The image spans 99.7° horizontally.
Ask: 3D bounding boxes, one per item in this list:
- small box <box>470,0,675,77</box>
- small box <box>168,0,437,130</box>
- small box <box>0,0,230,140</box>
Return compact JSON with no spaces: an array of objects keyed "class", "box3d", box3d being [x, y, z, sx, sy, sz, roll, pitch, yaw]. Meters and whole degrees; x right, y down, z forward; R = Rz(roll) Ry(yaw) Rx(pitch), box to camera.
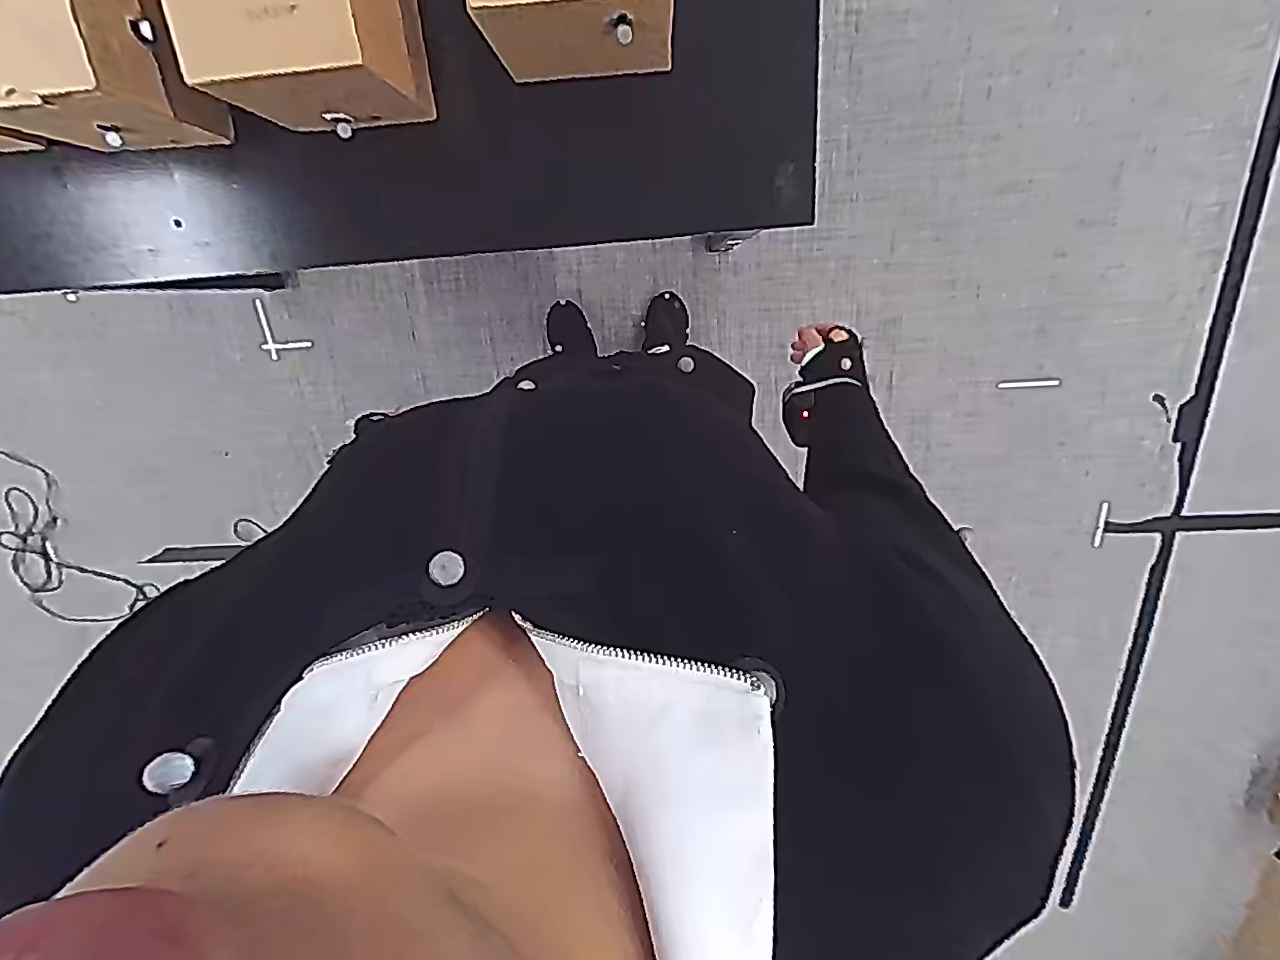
[{"class":"small box","box3d":[-0.058,-0.502,0.499,0.179,0.176,0.168,-2,109,3]},{"class":"small box","box3d":[-0.319,-0.467,0.522,0.168,0.176,0.179,-4,110,4]},{"class":"small box","box3d":[-0.557,-0.452,0.532,0.168,0.176,0.179,-4,110,1]}]
